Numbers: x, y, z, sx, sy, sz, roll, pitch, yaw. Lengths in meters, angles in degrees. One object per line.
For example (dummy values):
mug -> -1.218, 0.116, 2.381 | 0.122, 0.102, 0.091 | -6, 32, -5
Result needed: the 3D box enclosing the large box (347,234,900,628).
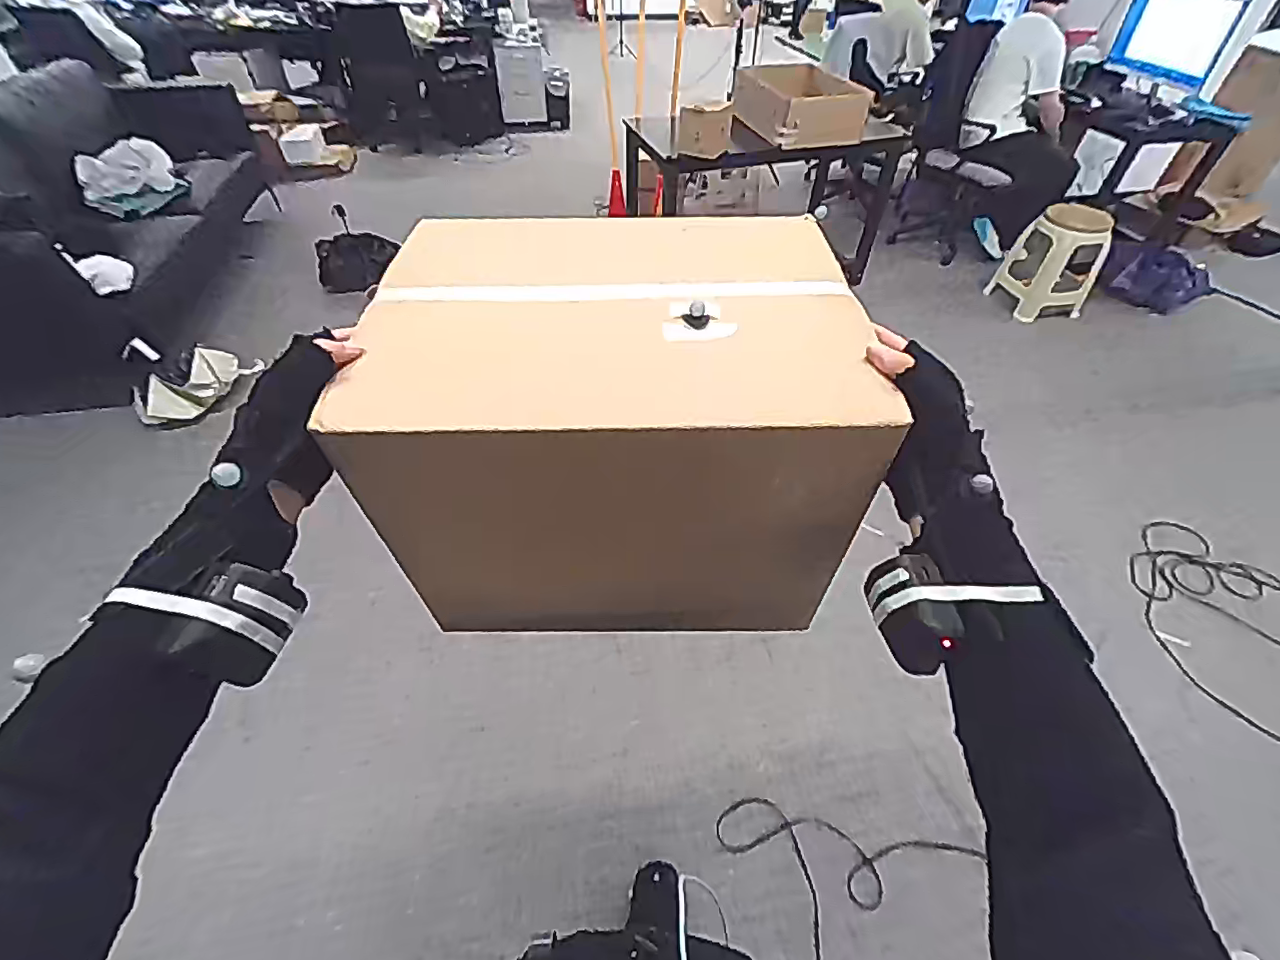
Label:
large box -> -0.015, -0.049, 0.590 | 0.408, 0.320, 0.320 | 0, 50, -1
